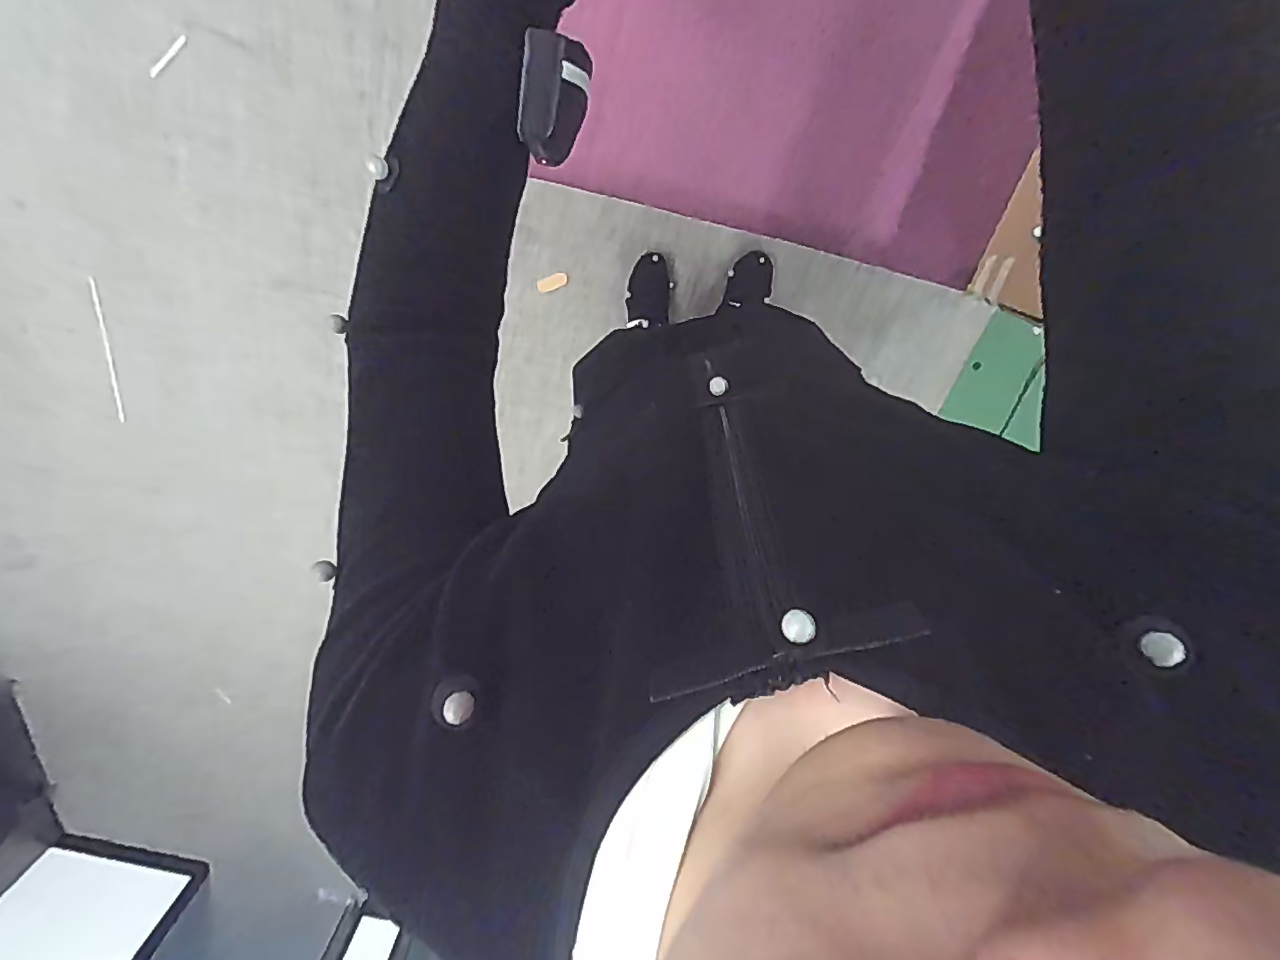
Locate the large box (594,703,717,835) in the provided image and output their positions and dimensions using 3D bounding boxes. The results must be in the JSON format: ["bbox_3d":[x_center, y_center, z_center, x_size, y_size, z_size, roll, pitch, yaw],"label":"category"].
[{"bbox_3d":[0.068,1.149,2.161,0.408,0.320,0.320,-14,116,10],"label":"large box"}]
